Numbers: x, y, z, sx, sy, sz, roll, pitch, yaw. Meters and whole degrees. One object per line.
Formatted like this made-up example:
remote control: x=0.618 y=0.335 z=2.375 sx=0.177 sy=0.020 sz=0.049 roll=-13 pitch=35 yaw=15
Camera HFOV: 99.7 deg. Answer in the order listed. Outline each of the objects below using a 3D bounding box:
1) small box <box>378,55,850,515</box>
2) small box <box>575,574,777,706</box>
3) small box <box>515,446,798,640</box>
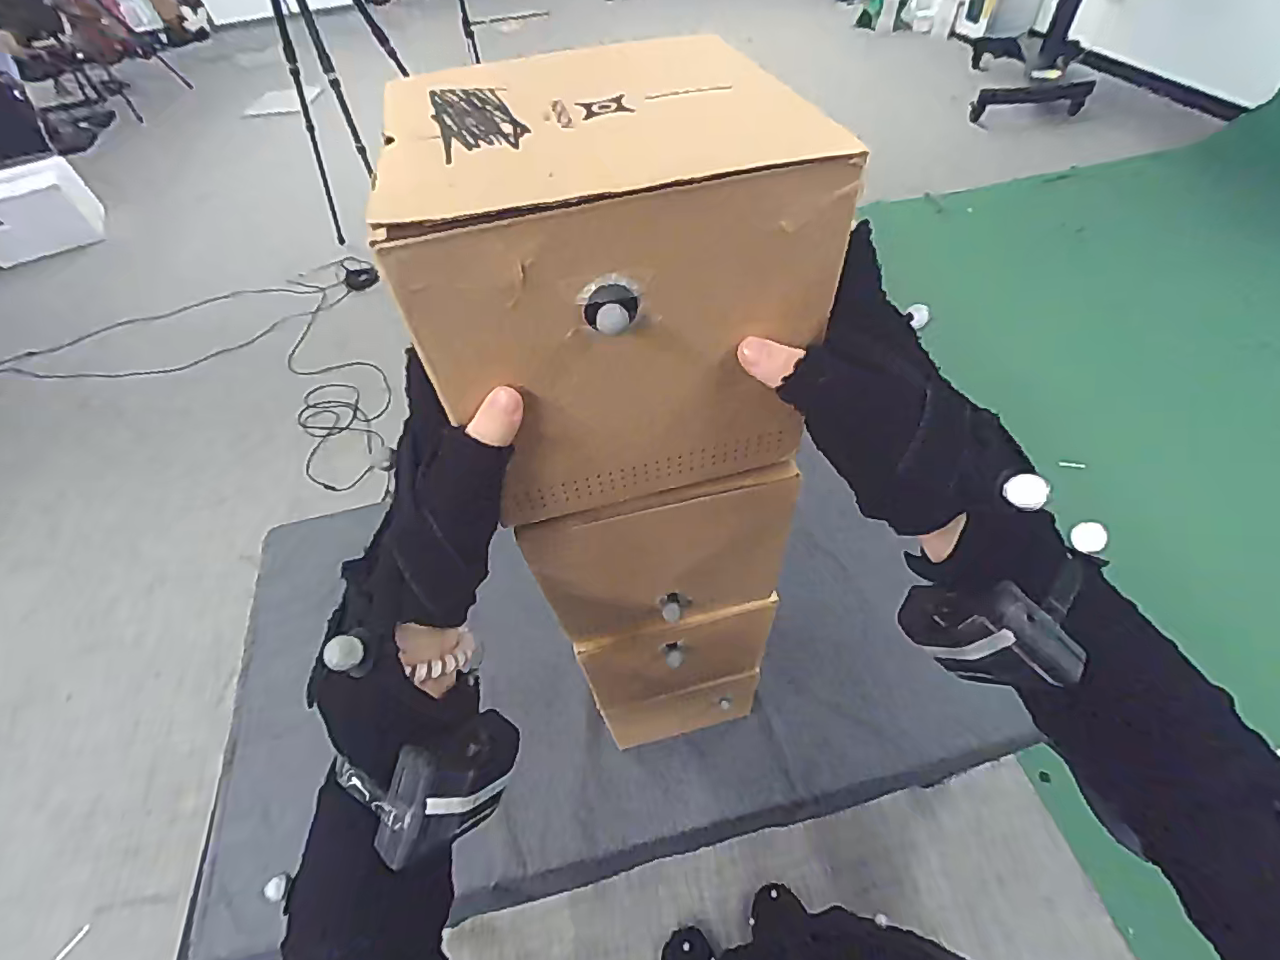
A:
small box: x=-0.017 y=-0.102 z=0.300 sx=0.179 sy=0.176 sz=0.168 roll=-13 pitch=51 yaw=-6
small box: x=0.020 y=0.112 z=0.559 sx=0.179 sy=0.176 sz=0.168 roll=-14 pitch=52 yaw=-5
small box: x=0.003 y=0.007 z=0.433 sx=0.179 sy=0.176 sz=0.168 roll=-12 pitch=51 yaw=-4
